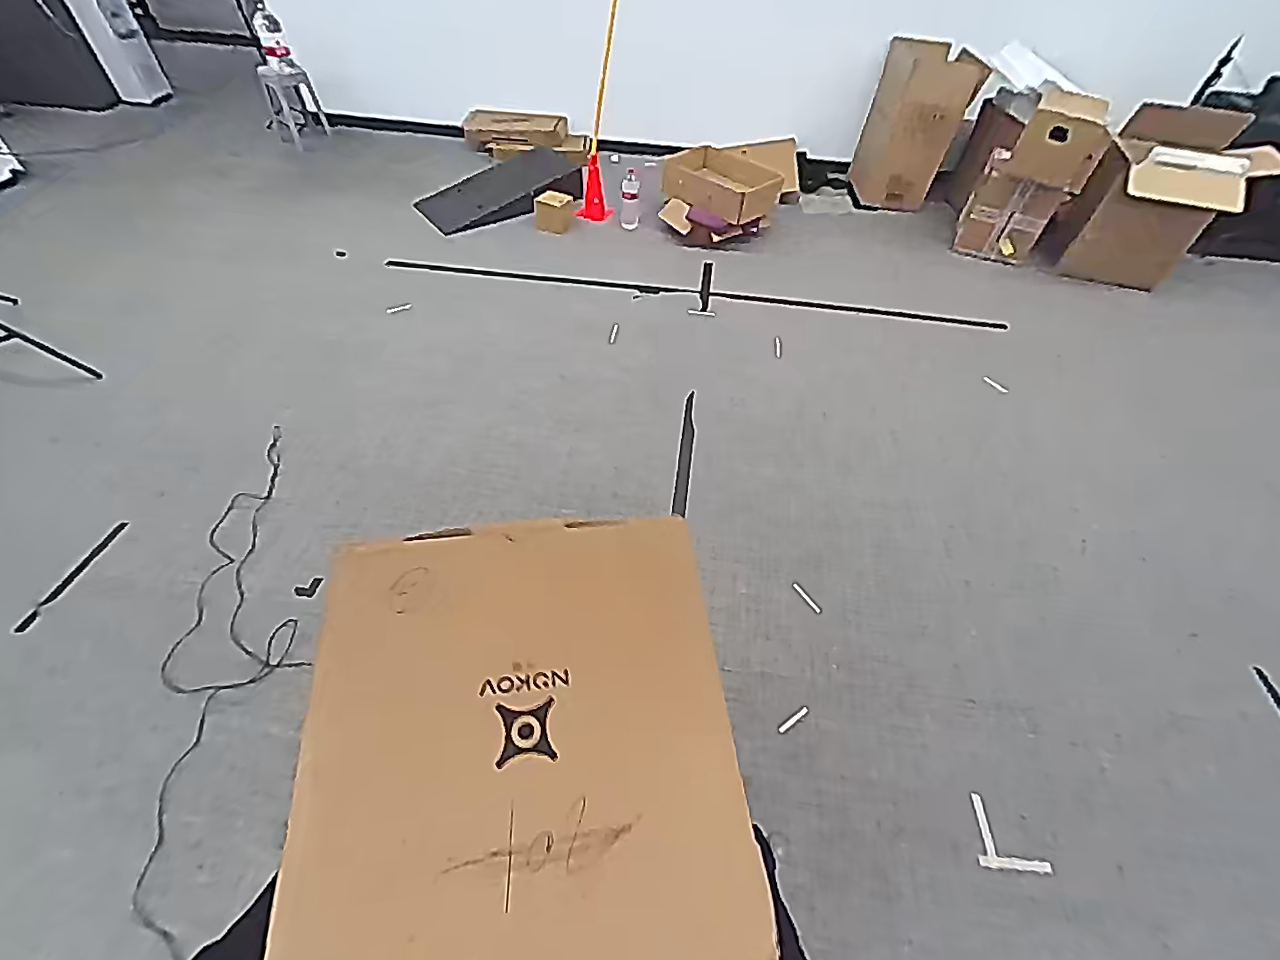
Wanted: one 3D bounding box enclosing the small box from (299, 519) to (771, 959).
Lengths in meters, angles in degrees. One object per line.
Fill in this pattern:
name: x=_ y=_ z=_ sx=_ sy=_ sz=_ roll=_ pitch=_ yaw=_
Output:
small box: x=-0.054 y=0.143 z=0.295 sx=0.168 sy=0.176 sz=0.179 roll=-6 pitch=58 yaw=-11
